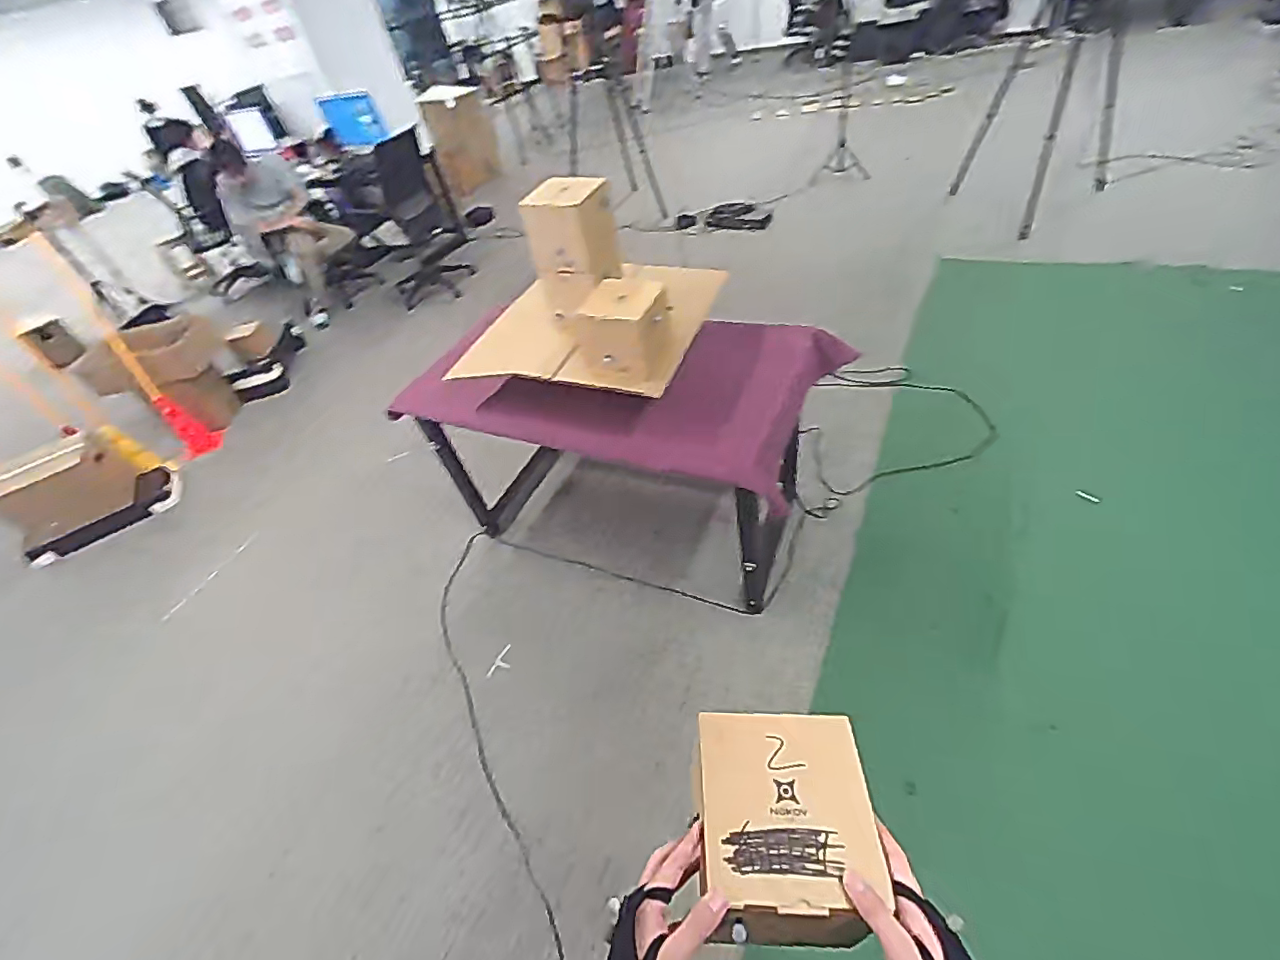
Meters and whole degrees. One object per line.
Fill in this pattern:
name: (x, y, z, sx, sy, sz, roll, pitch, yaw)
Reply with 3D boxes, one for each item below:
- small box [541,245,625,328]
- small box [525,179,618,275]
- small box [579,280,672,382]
small box: (-0.145, -0.539, 1.509, 0.168, 0.176, 0.179, 13, 50, 20)
small box: (-0.167, -0.653, 1.392, 0.168, 0.176, 0.179, 12, 51, 21)
small box: (-0.025, -0.366, 1.325, 0.168, 0.176, 0.179, 12, 51, 21)
